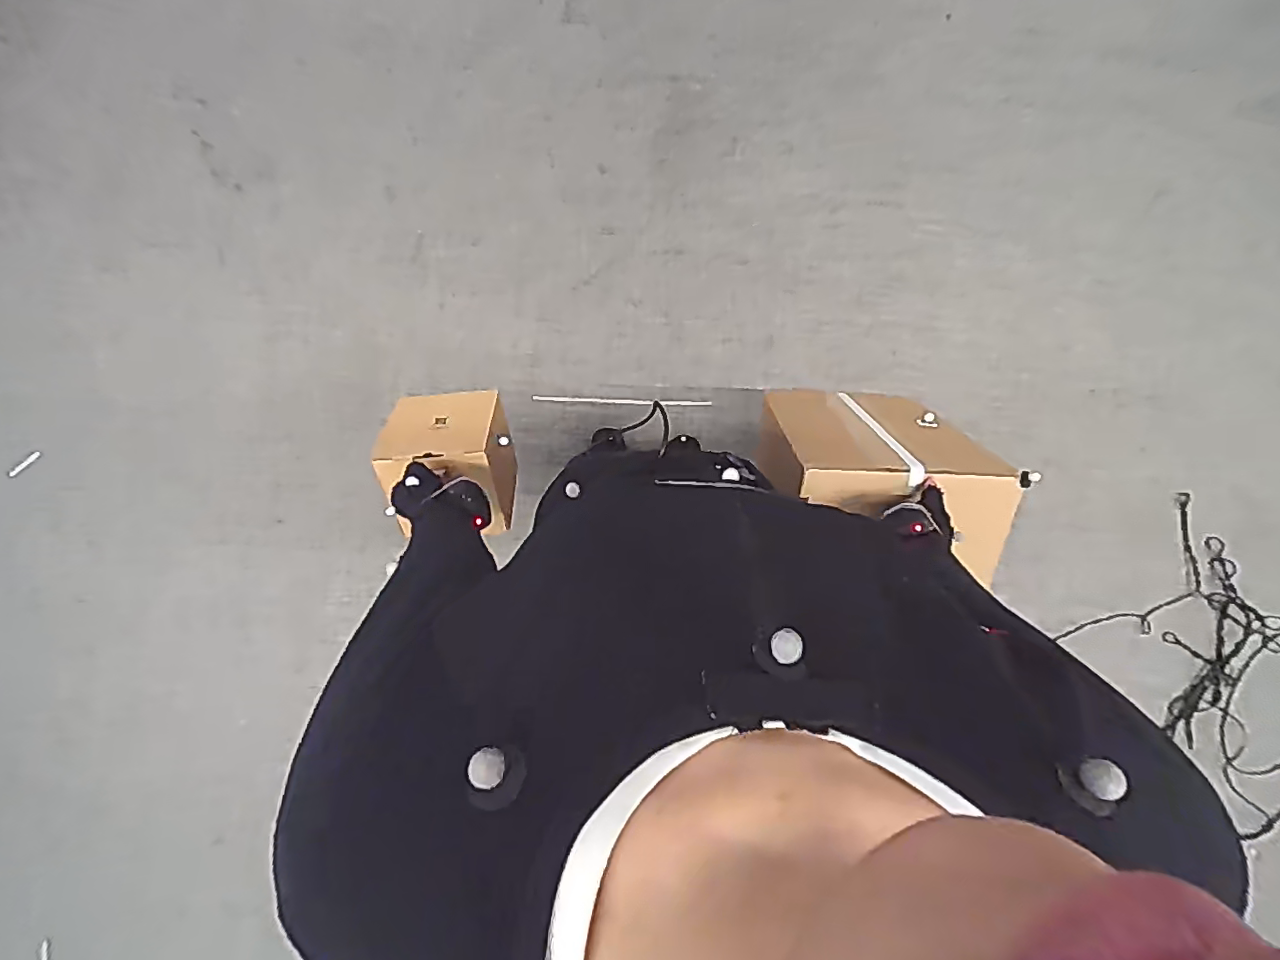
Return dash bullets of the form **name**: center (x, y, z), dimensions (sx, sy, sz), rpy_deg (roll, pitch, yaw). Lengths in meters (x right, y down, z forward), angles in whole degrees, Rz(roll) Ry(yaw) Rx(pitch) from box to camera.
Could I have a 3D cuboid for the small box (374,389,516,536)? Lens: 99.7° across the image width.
- **small box**: center (-0.307, -0.030, 0.896), dimensions (0.168, 0.179, 0.176), rpy_deg (-6, 131, -1)
